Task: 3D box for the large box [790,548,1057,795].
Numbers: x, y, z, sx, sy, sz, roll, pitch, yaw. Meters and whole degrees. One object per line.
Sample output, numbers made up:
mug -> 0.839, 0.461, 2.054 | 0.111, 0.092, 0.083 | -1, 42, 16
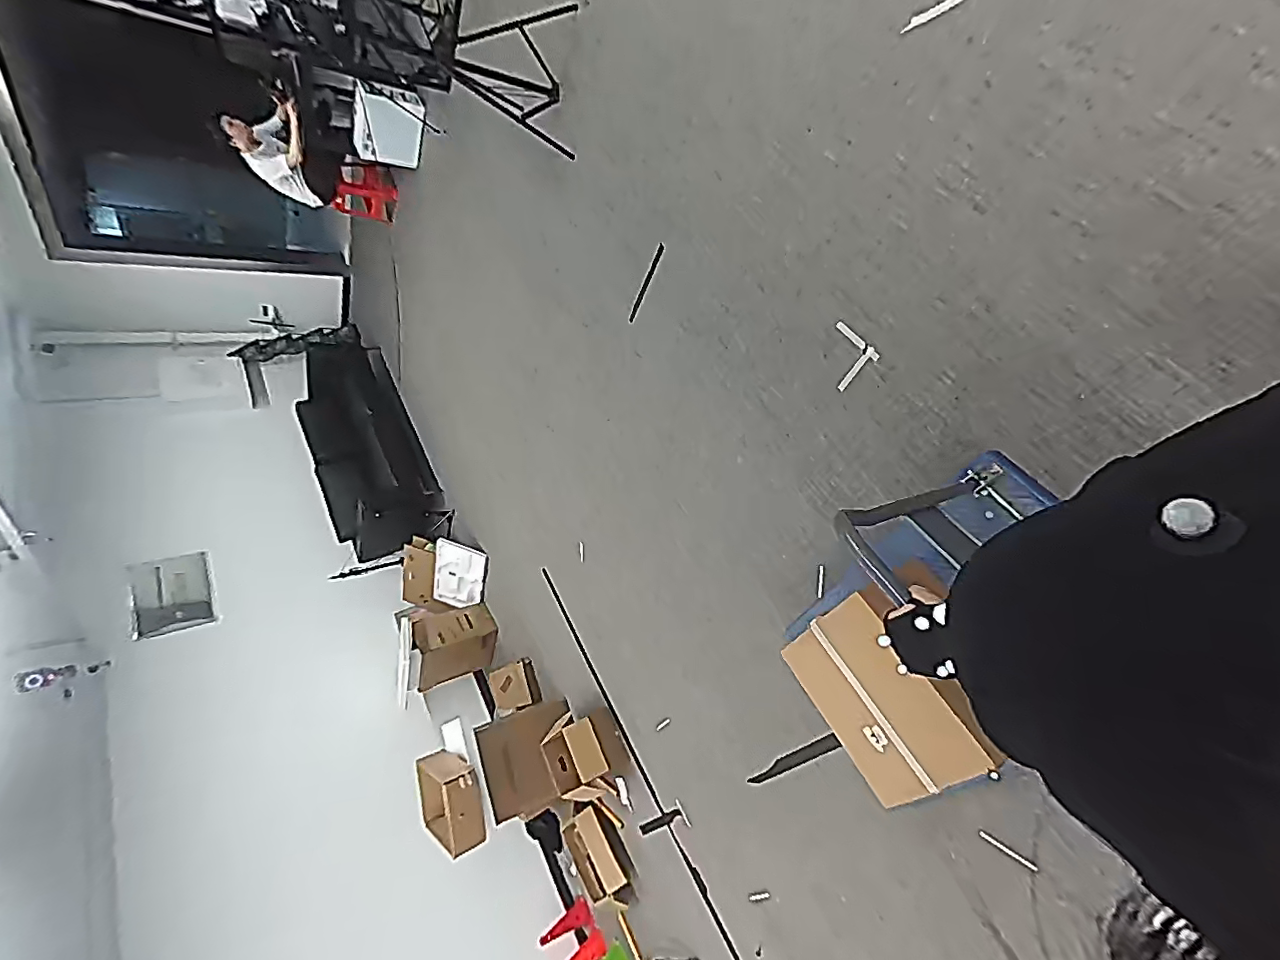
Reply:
large box -> 0.654, 0.434, 1.285 | 0.408, 0.320, 0.320 | 56, 138, 26
